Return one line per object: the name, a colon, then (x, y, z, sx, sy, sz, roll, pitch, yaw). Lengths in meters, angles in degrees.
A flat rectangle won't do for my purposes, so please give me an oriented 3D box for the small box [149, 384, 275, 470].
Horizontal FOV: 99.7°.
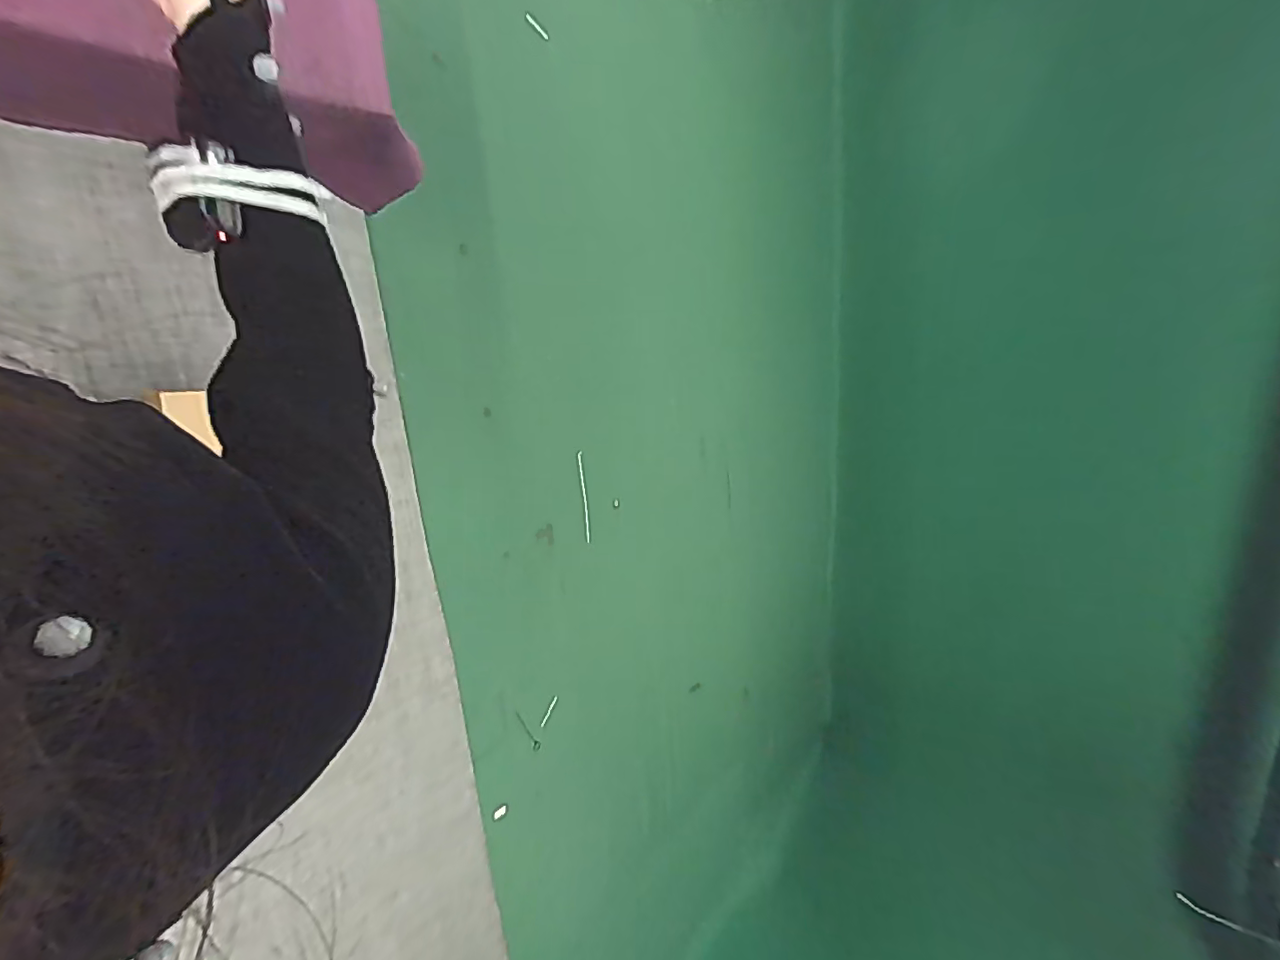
small box: (-0.928, -0.120, 1.170, 0.179, 0.176, 0.168, -17, 109, -48)
